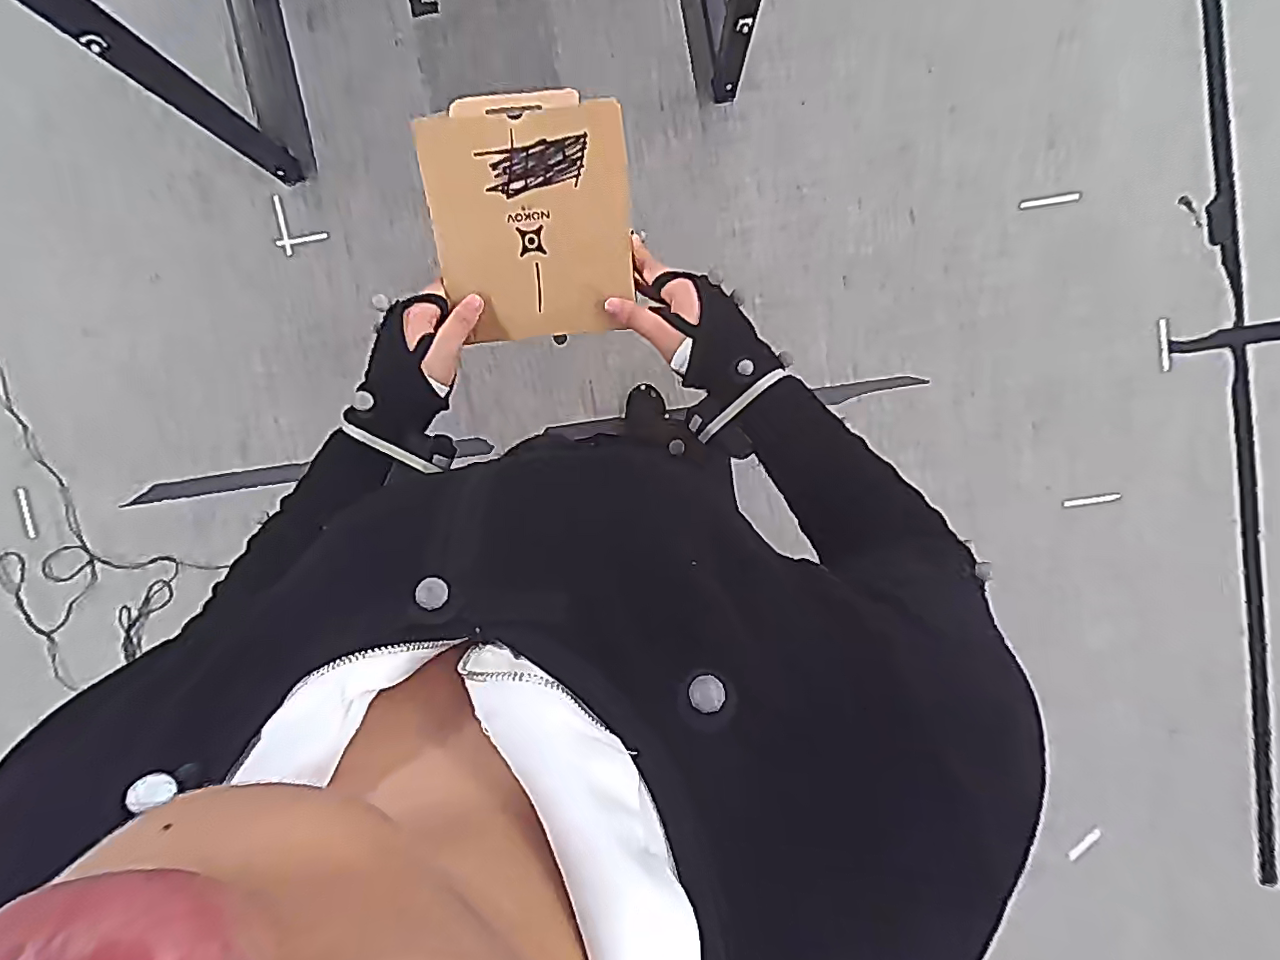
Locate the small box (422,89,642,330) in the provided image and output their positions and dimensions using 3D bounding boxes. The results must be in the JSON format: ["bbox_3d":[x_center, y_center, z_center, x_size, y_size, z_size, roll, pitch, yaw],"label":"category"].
[{"bbox_3d":[-0.086,-0.245,0.526,0.168,0.176,0.179,-4,110,2],"label":"small box"}]
